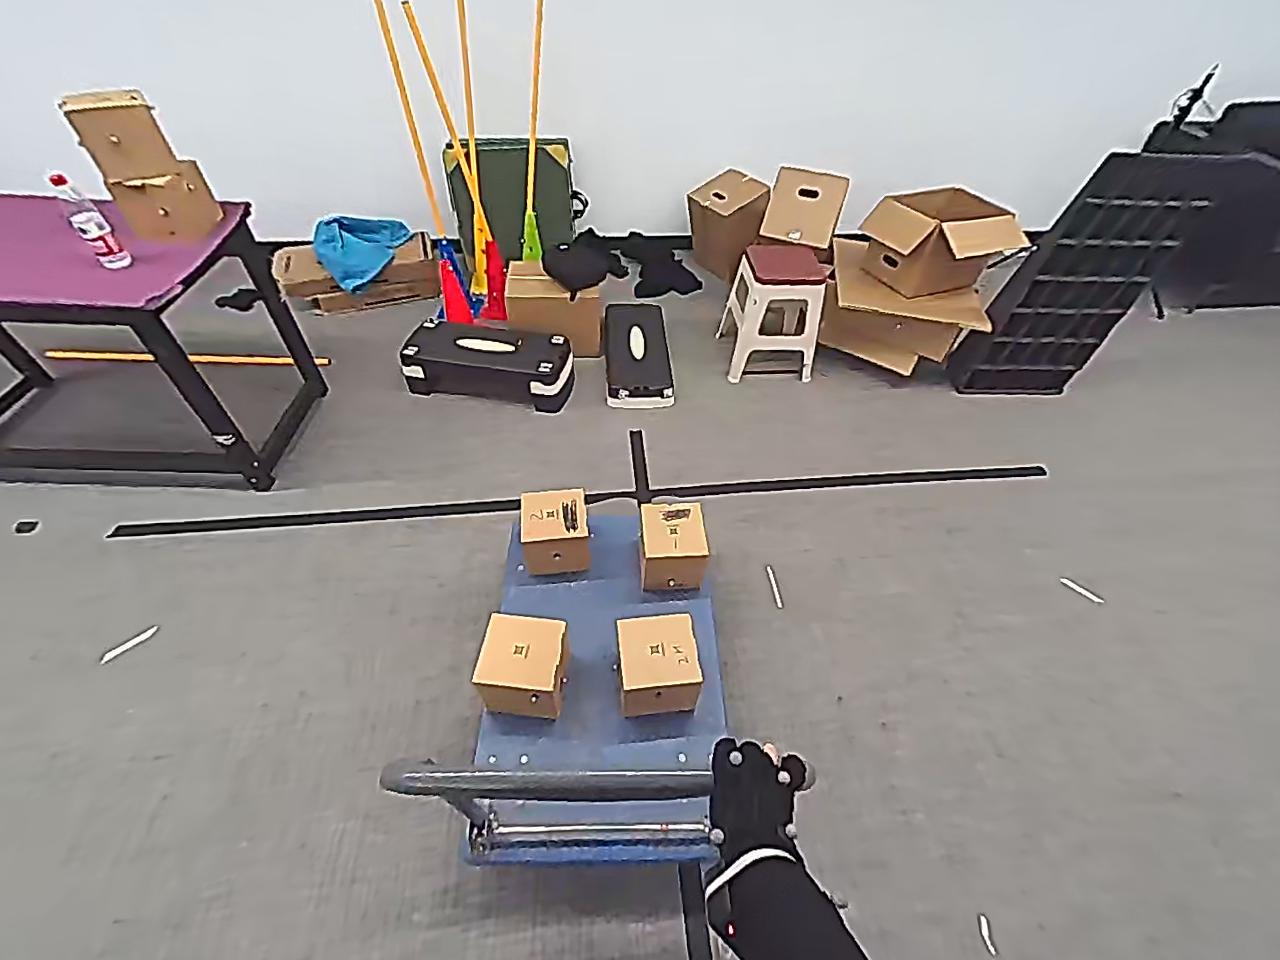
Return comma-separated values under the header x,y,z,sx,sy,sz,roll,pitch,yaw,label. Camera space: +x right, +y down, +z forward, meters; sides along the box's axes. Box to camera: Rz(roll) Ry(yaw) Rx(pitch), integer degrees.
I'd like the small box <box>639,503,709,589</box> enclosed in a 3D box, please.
x,y,z,sx,sy,sz,roll,pitch,yaw,label
0.086,0.182,1.483,0.168,0.176,0.179,-2,50,-4,small box

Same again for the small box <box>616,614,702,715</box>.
x,y,z,sx,sy,sz,roll,pitch,yaw,label
0.037,0.432,1.258,0.179,0.176,0.168,-3,49,-6,small box

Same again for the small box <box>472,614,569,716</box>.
x,y,z,sx,sy,sz,roll,pitch,yaw,label
-0.266,0.429,1.246,0.179,0.176,0.168,6,48,1,small box
